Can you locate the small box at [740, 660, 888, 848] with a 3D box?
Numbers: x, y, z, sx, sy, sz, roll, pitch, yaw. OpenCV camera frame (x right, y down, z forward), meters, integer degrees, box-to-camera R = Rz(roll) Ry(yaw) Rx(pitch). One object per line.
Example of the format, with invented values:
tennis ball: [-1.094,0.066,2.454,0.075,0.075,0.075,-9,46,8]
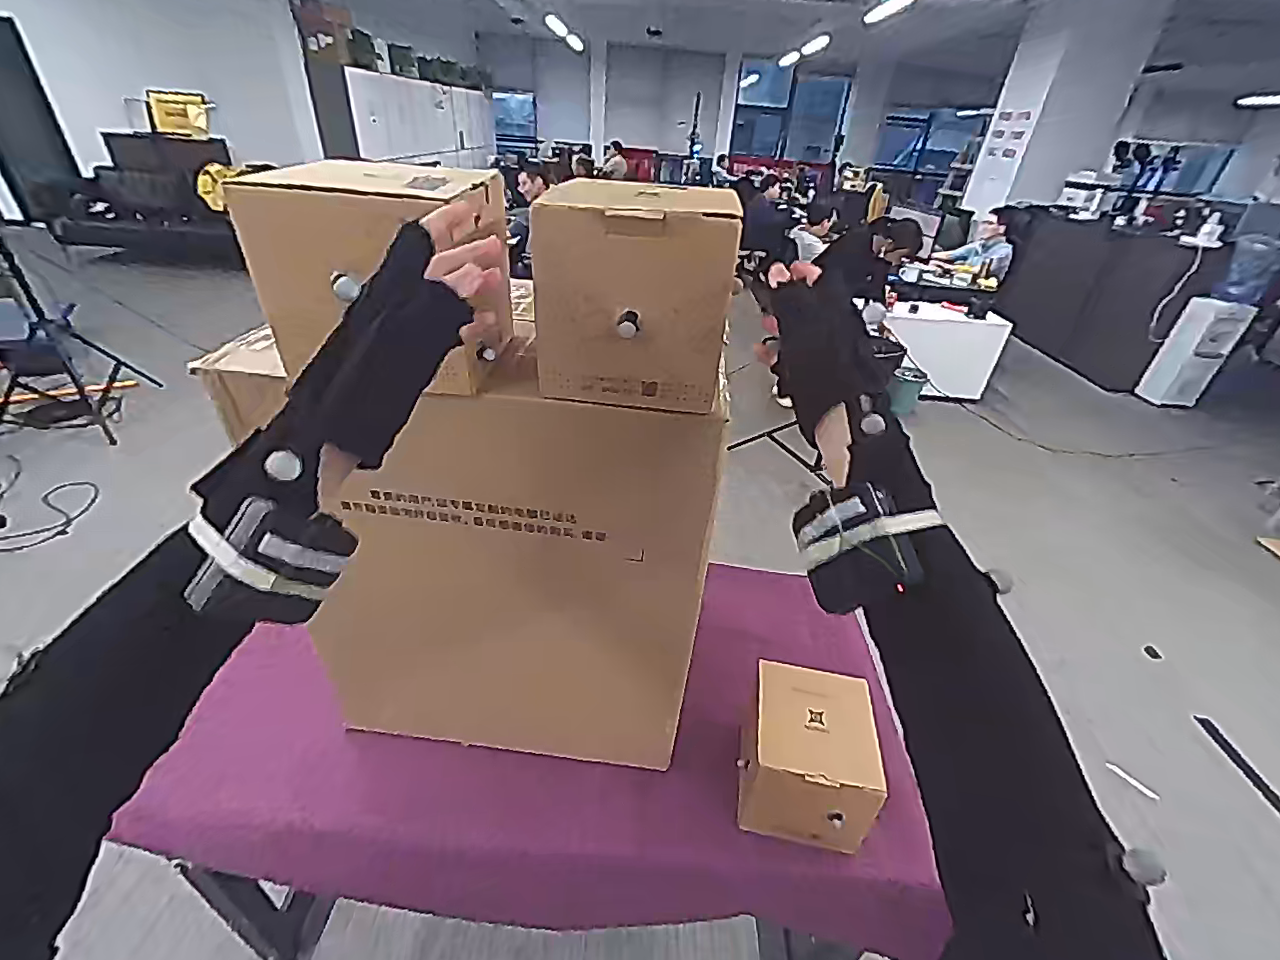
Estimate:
small box: [0.245,0.404,0.802,0.168,0.176,0.179,9,32,6]

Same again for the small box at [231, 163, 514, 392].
small box: [-0.228,-0.196,0.522,0.179,0.176,0.168,3,35,0]

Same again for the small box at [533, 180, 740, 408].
small box: [0.002,-0.185,0.530,0.168,0.176,0.179,7,35,3]
